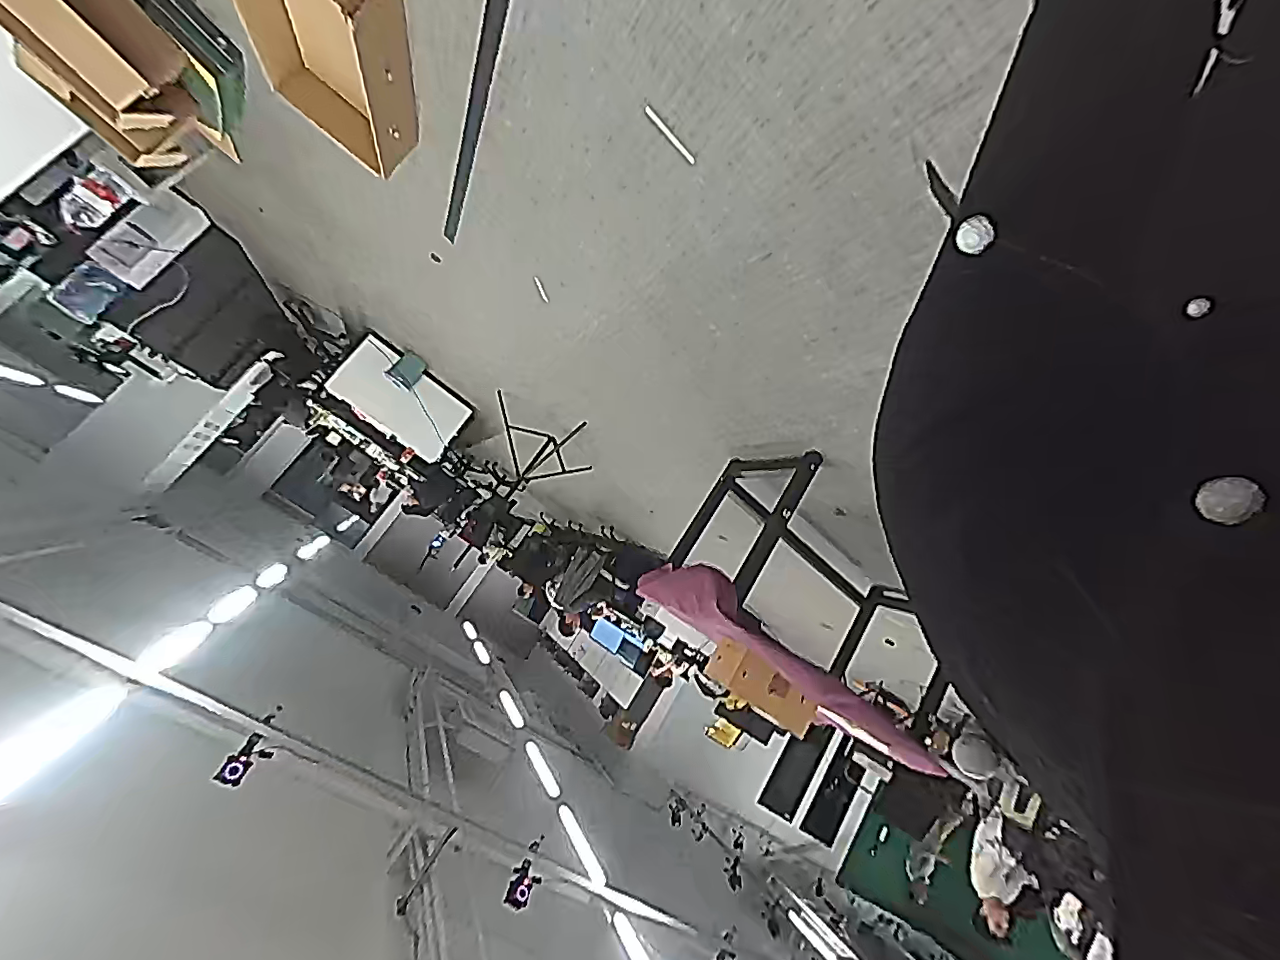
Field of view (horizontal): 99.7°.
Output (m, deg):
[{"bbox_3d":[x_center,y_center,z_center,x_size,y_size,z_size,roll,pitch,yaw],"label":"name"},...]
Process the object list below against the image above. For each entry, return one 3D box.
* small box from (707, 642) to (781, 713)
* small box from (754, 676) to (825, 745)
[{"bbox_3d":[0.396,0.743,2.055,0.179,0.176,0.168,38,167,-21],"label":"small box"},{"bbox_3d":[0.592,0.902,2.138,0.179,0.176,0.168,40,165,-18],"label":"small box"}]
